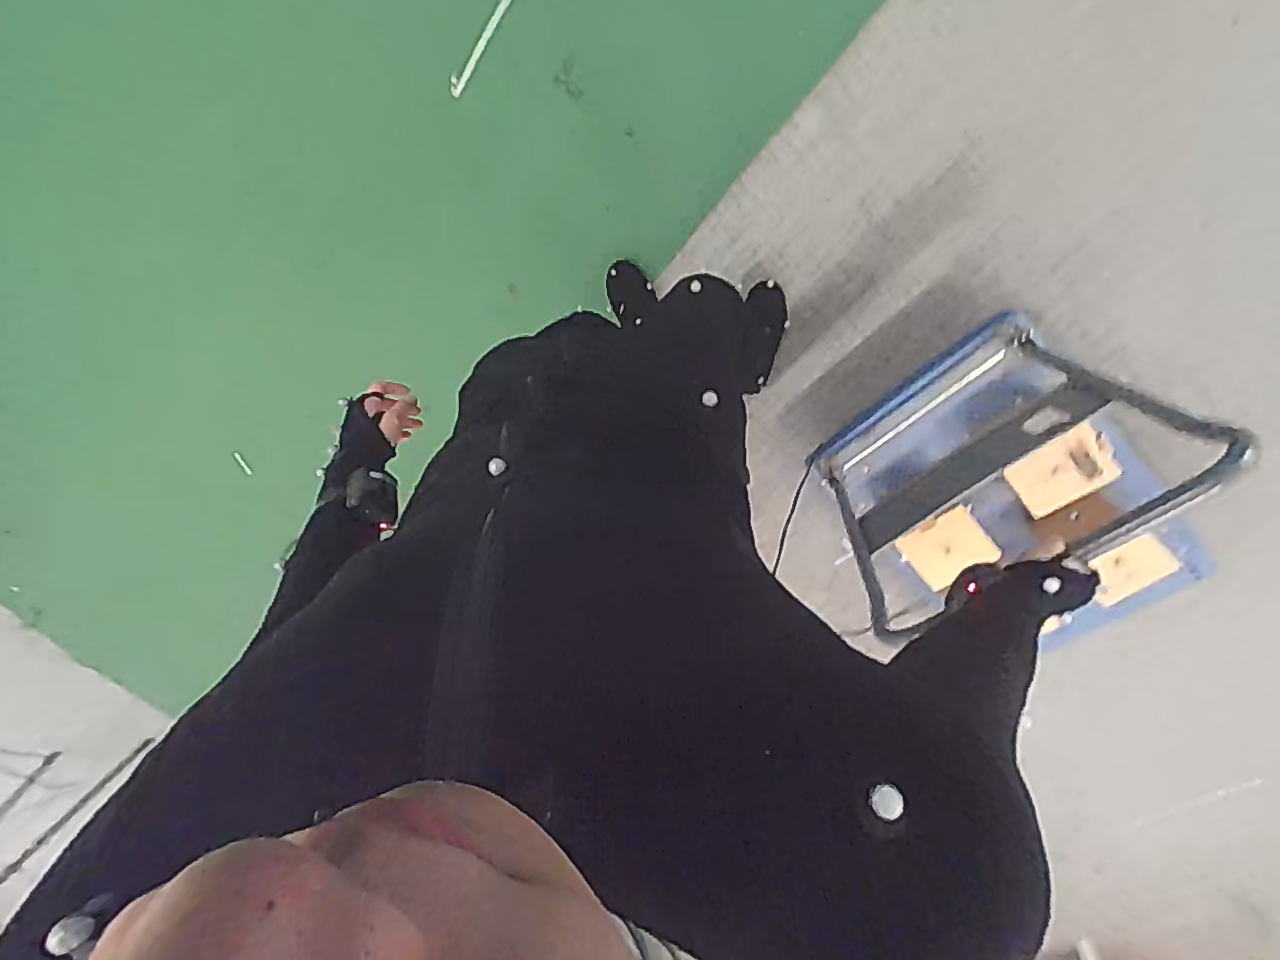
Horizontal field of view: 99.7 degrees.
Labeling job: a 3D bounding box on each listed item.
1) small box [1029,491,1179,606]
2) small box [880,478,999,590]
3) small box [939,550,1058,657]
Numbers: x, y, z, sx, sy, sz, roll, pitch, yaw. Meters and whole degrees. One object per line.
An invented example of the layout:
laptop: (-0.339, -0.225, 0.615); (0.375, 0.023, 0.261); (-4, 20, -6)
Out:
small box: (1.061, 0.148, 1.256); (0.179, 0.176, 0.168); (41, 116, -9)
small box: (0.717, 0.126, 1.314); (0.168, 0.176, 0.179); (-39, 102, 24)
small box: (0.887, 0.301, 1.362); (0.179, 0.176, 0.168); (43, 115, -10)
